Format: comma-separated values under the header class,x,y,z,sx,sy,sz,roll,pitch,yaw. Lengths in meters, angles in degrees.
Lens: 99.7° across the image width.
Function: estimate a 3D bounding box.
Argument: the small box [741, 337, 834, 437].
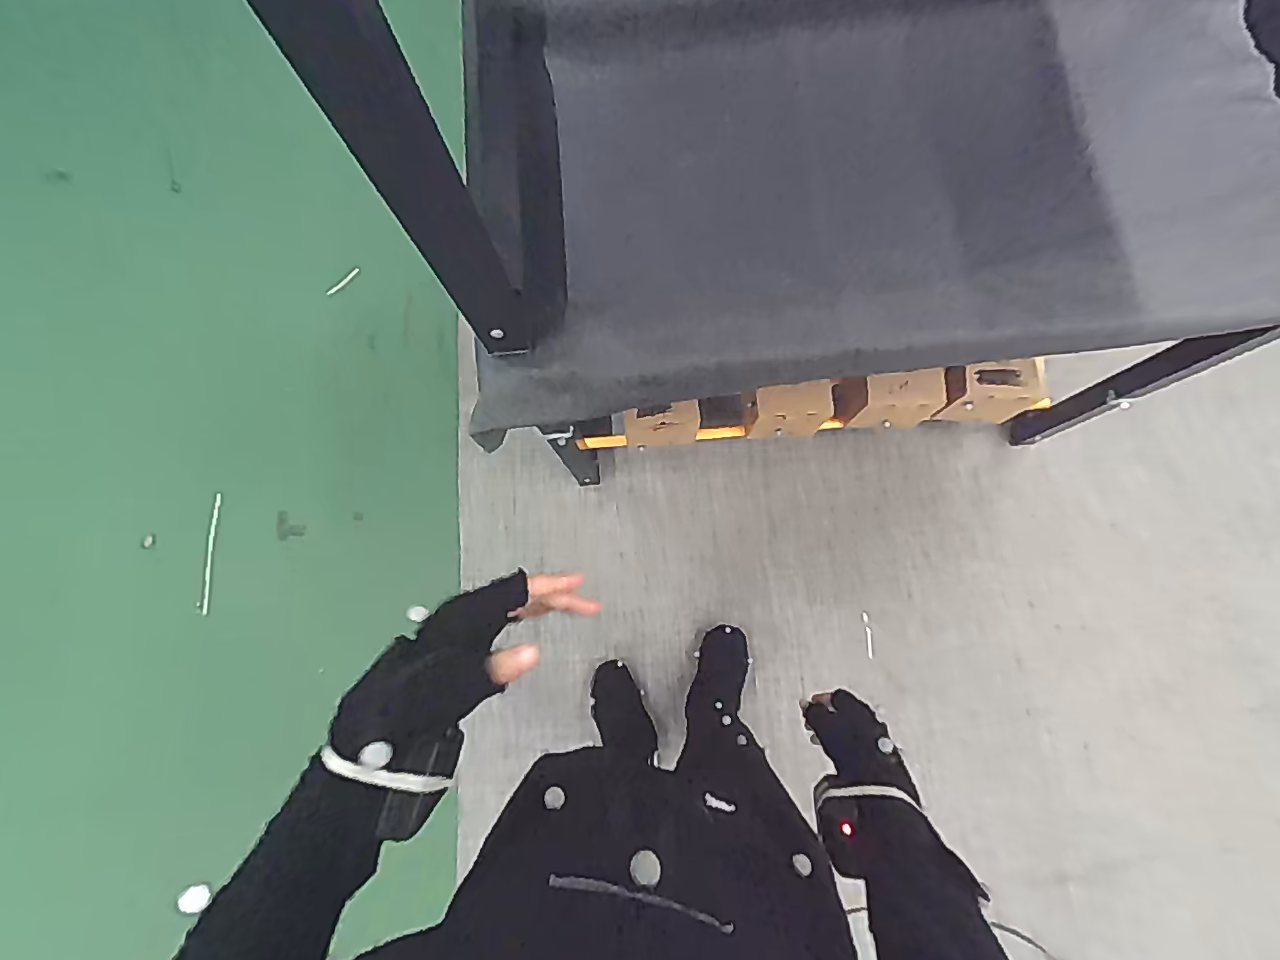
class,x,y,z,sx,sy,sz,roll,pitch,yaw
small box,0.332,-0.210,1.249,0.168,0.176,0.179,-3,79,2
